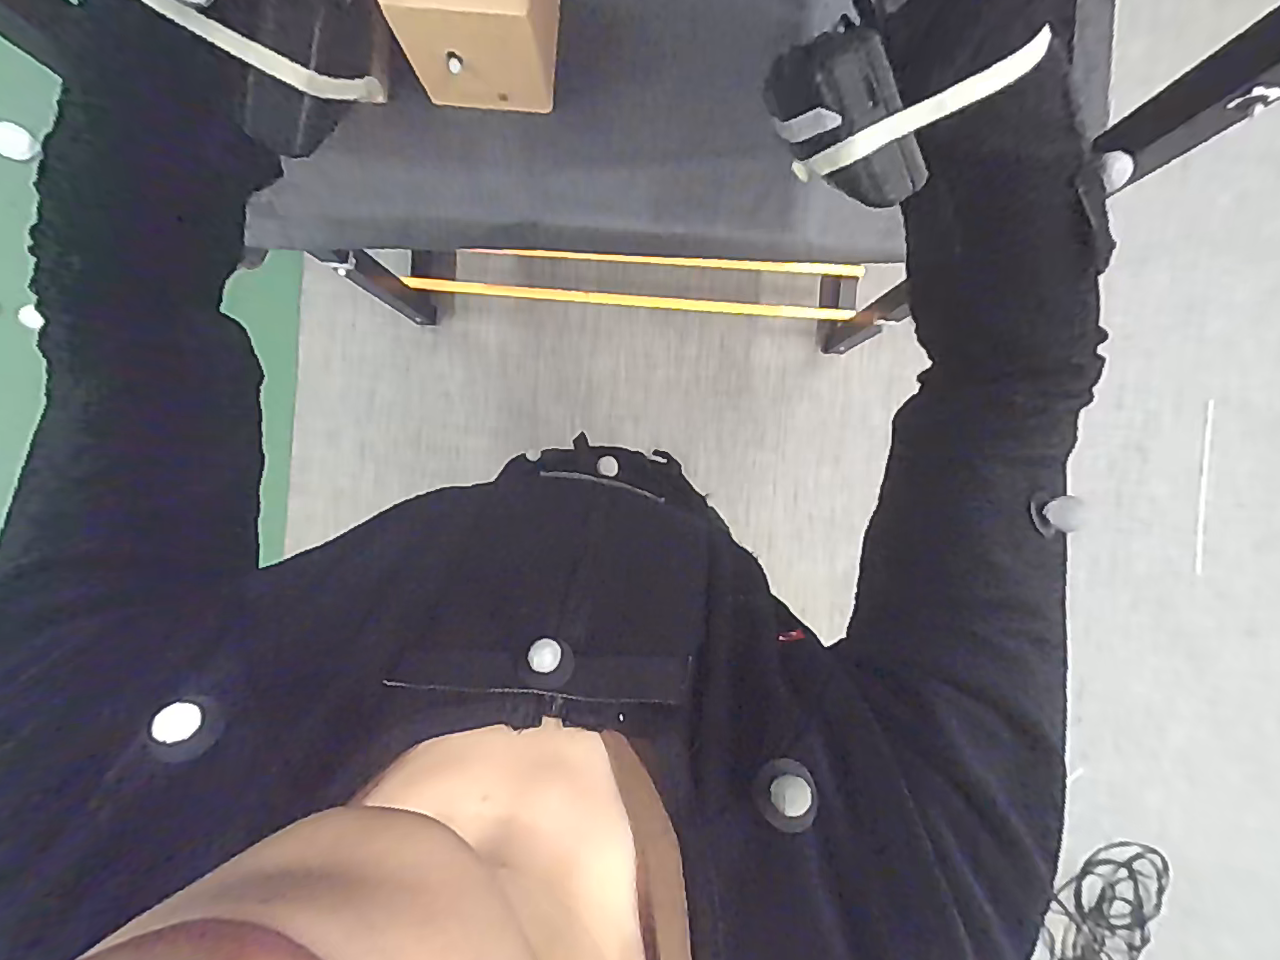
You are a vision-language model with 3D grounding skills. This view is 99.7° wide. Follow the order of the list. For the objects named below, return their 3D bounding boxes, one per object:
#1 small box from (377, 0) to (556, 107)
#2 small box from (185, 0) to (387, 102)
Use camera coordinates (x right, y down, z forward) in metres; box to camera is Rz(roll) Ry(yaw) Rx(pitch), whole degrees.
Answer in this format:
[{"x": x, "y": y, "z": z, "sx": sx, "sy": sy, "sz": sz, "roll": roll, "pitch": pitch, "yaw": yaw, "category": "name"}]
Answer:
[{"x": -0.199, "y": -0.598, "z": 0.662, "sx": 0.168, "sy": 0.176, "sz": 0.179, "roll": 4, "pitch": 90, "yaw": -1, "category": "small box"}, {"x": -0.426, "y": -0.608, "z": 0.657, "sx": 0.168, "sy": 0.176, "sz": 0.179, "roll": 2, "pitch": 91, "yaw": 0, "category": "small box"}]
